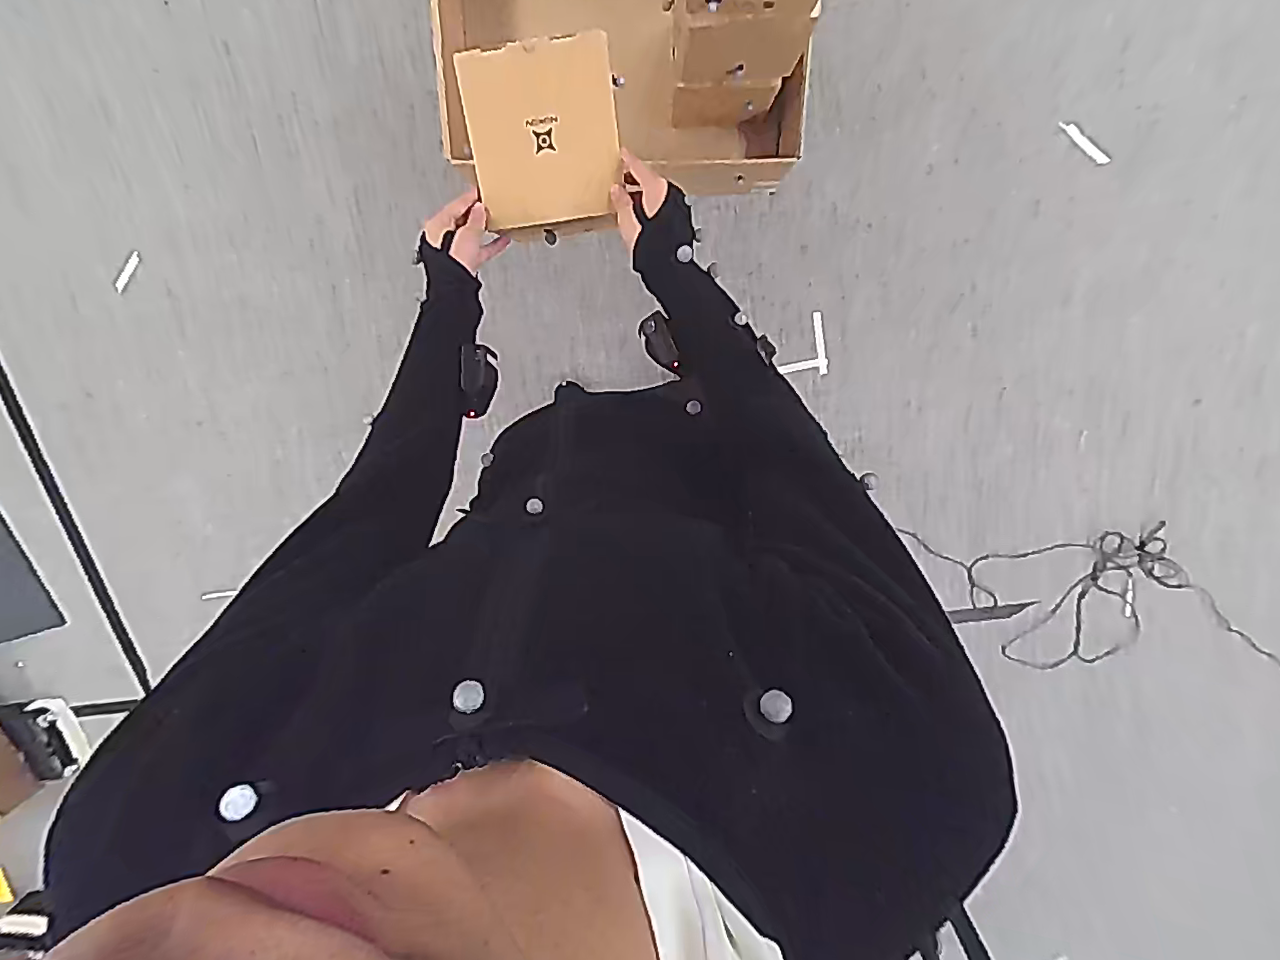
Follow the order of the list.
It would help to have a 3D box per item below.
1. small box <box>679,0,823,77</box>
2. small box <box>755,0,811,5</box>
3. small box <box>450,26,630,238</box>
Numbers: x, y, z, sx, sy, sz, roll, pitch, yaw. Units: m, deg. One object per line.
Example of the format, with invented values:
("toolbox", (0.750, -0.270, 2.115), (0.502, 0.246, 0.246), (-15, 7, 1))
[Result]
("small box", (0.146, -0.693, 0.752), (0.179, 0.176, 0.168), (-2, 105, 1))
("small box", (0.141, -0.664, 0.589), (0.168, 0.176, 0.179), (2, 105, 1))
("small box", (-0.105, -0.400, 0.659), (0.168, 0.176, 0.179), (-7, 108, 3))
